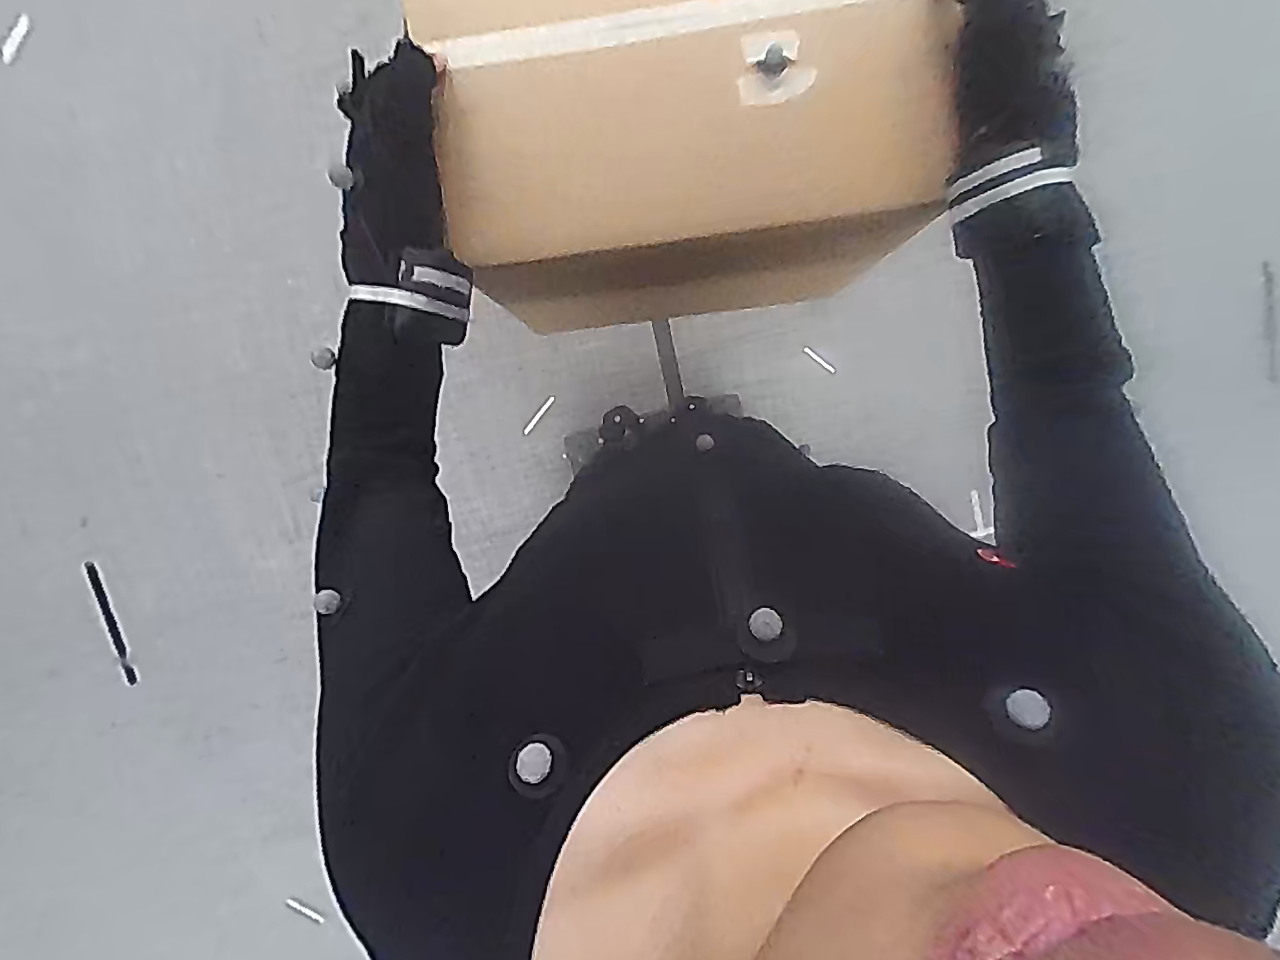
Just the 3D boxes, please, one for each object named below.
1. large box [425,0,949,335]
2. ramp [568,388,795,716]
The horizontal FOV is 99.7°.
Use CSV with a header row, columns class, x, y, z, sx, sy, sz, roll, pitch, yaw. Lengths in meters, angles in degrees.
class,x,y,z,sx,sy,sz,roll,pitch,yaw
large box,0.035,-0.362,0.576,0.408,0.320,0.320,-7,95,2
ramp,0.159,0.262,1.622,0.509,0.206,0.991,-17,99,0
